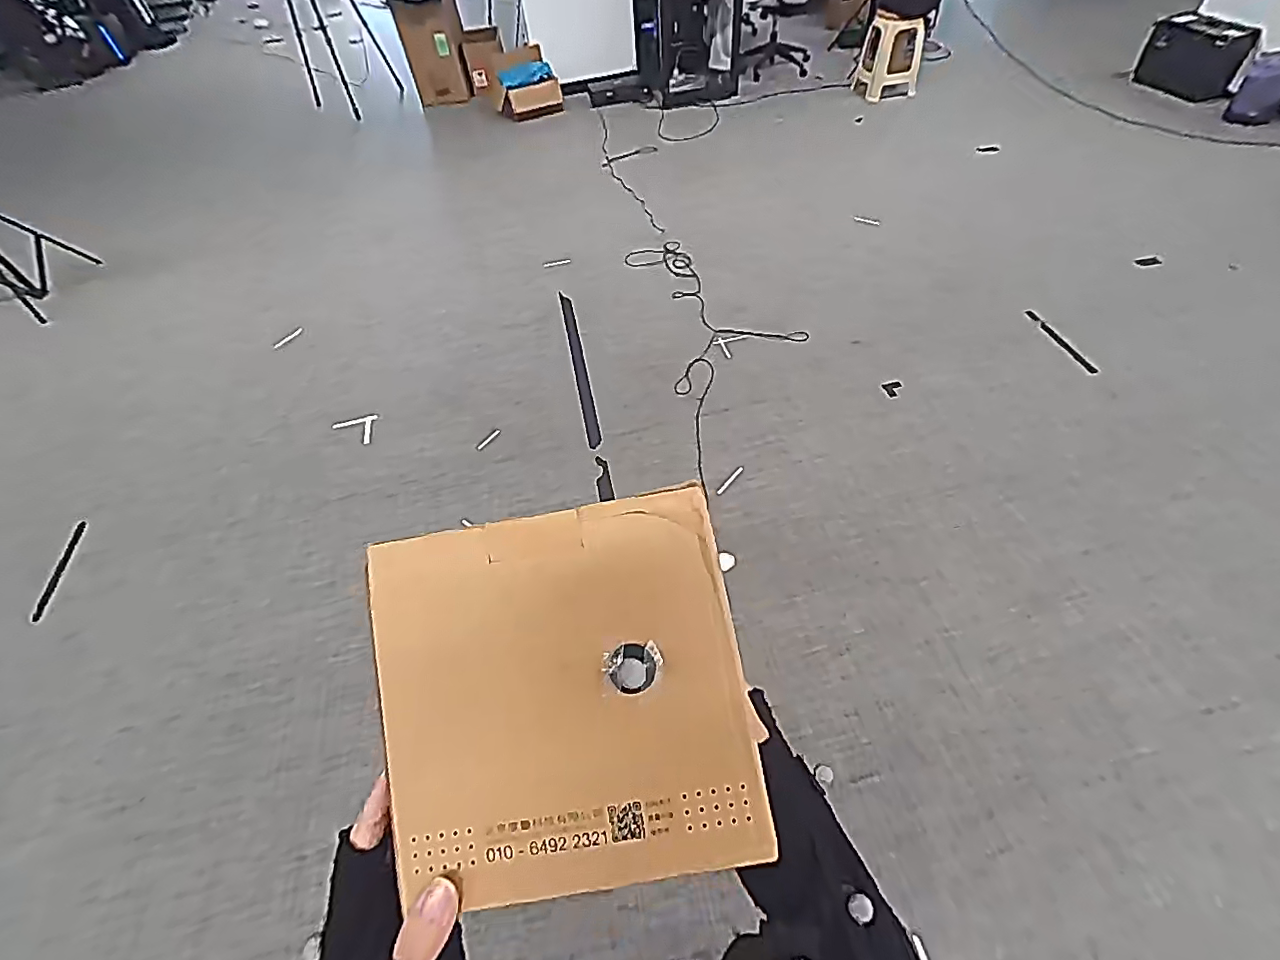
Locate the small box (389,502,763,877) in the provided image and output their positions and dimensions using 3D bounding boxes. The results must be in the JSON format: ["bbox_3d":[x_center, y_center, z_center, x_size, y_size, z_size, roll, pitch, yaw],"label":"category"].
[{"bbox_3d":[-0.027,0.118,0.343,0.168,0.179,0.176,-10,82,3],"label":"small box"}]
